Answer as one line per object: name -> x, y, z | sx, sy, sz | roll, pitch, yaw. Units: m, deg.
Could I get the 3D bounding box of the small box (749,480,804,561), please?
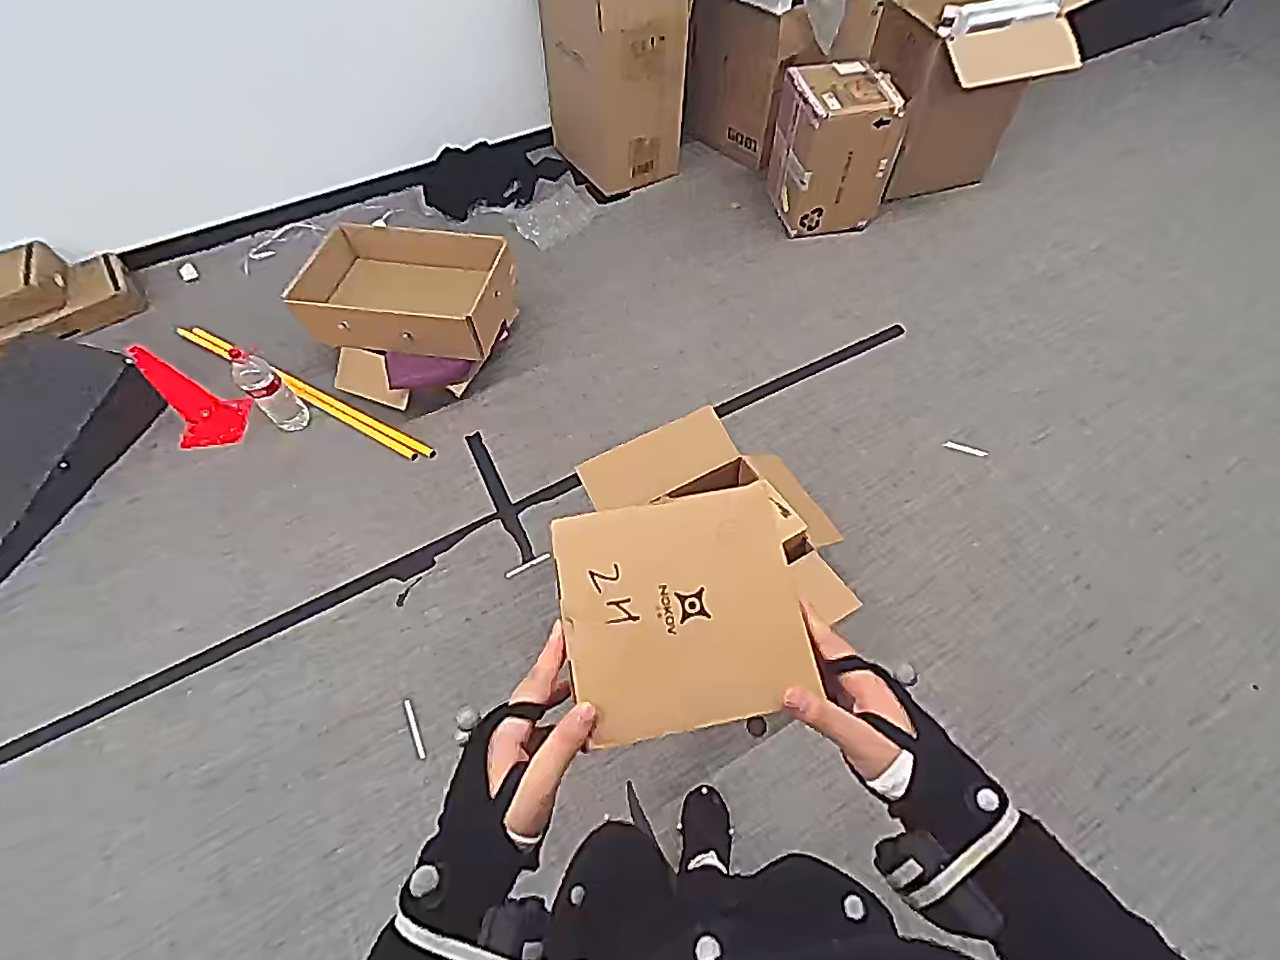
small box -> 0.264, 0.137, 1.314 | 0.179, 0.176, 0.168 | -26, 59, -18

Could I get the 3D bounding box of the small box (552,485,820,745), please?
small box -> 0.027, 0.119, 0.475 | 0.179, 0.176, 0.168 | -10, 70, -5
